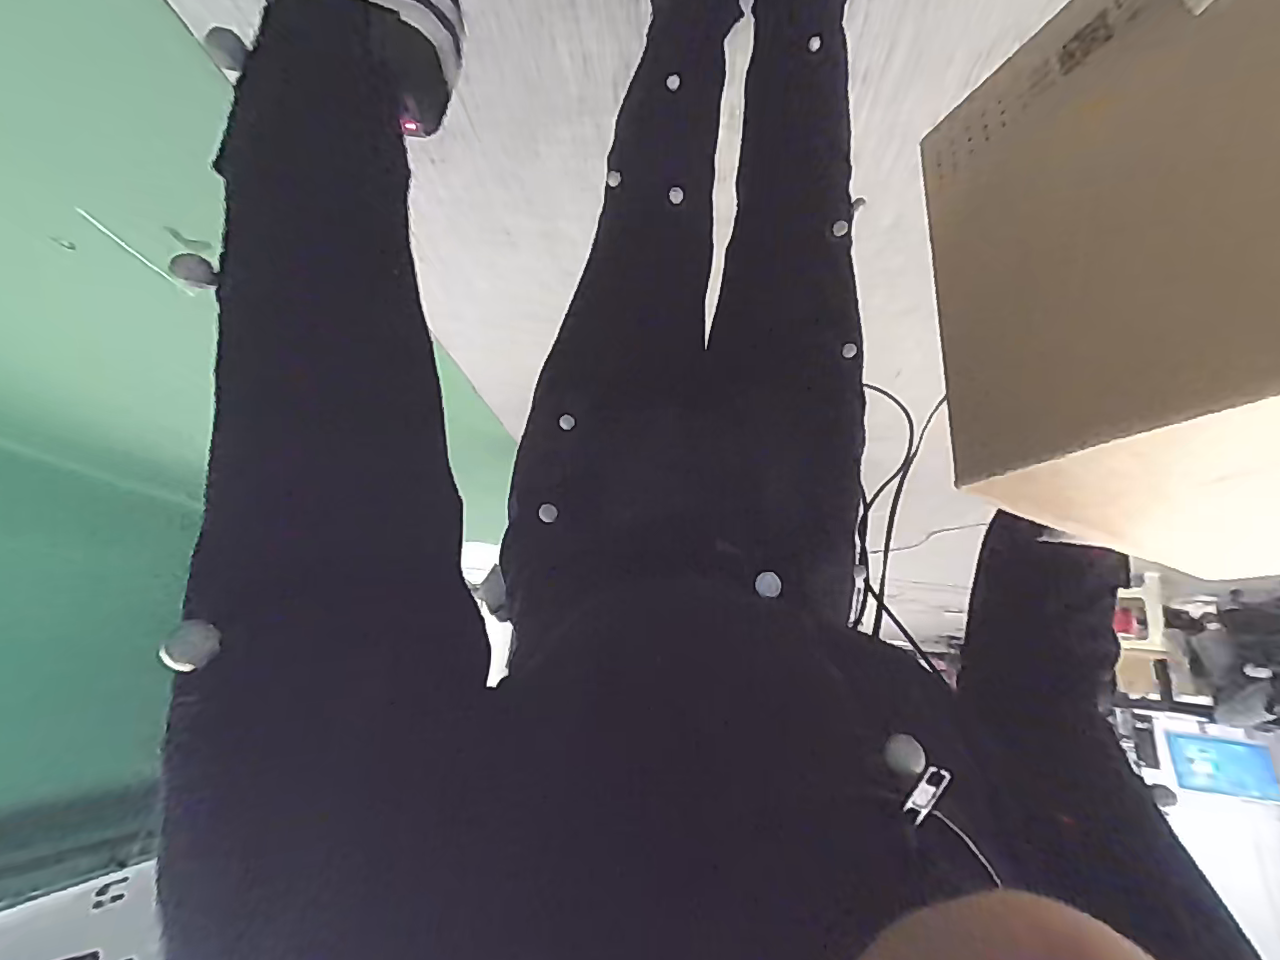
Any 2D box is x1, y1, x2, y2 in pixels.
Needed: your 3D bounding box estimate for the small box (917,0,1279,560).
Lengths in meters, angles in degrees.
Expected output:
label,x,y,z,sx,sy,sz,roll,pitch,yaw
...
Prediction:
label,x,y,z,sx,sy,sz,roll,pitch,yaw
small box,0.223,-0.083,0.178,0.179,0.176,0.168,16,156,-21
